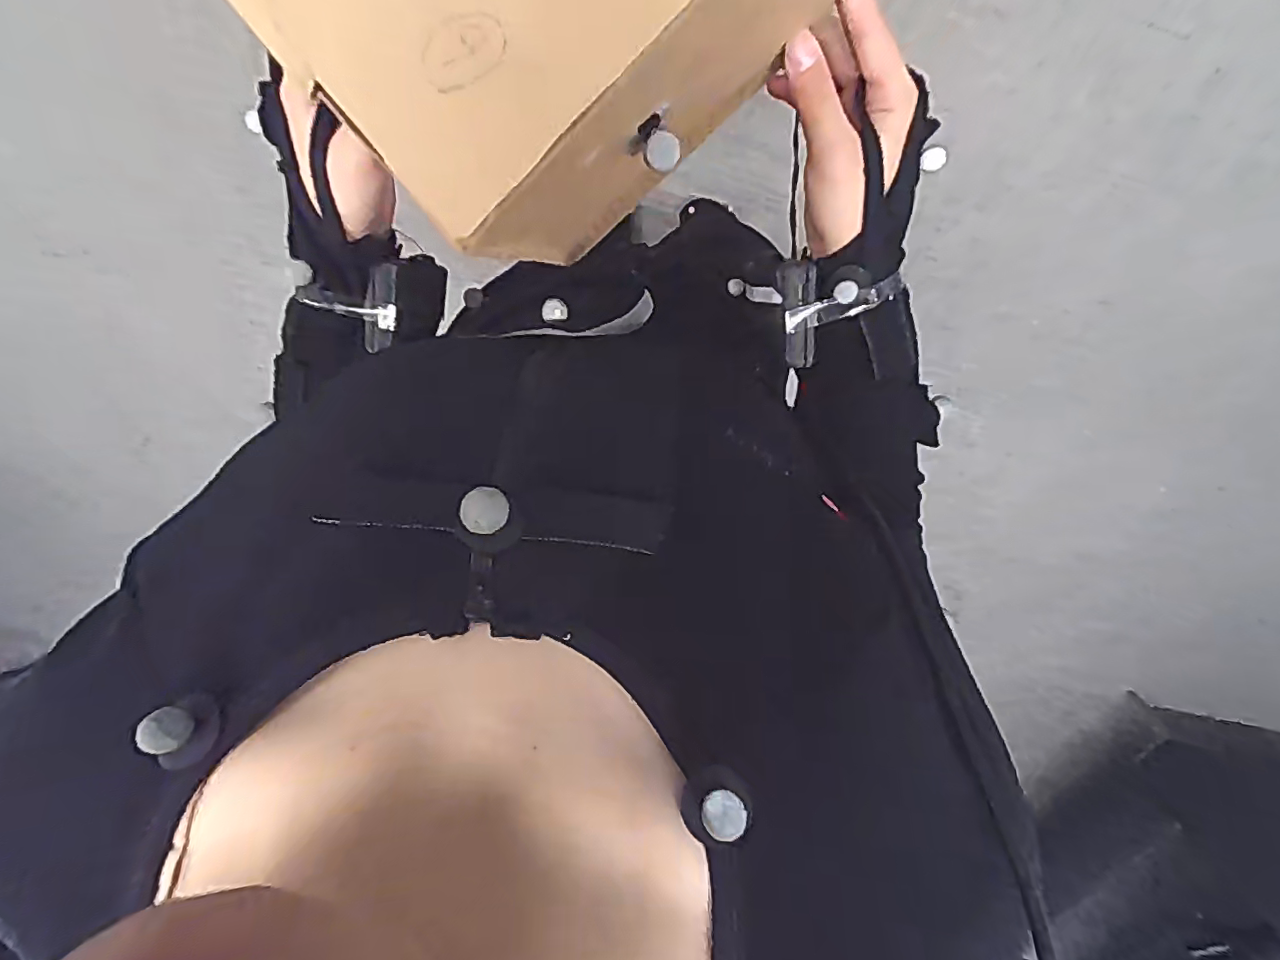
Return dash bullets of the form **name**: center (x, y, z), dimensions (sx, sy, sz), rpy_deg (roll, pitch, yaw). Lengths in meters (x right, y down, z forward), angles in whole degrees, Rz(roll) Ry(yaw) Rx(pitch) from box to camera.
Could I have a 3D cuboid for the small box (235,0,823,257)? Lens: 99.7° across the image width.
- **small box**: center (-0.034, -0.206, 0.205), dimensions (0.179, 0.176, 0.168), rpy_deg (-36, 103, 18)
